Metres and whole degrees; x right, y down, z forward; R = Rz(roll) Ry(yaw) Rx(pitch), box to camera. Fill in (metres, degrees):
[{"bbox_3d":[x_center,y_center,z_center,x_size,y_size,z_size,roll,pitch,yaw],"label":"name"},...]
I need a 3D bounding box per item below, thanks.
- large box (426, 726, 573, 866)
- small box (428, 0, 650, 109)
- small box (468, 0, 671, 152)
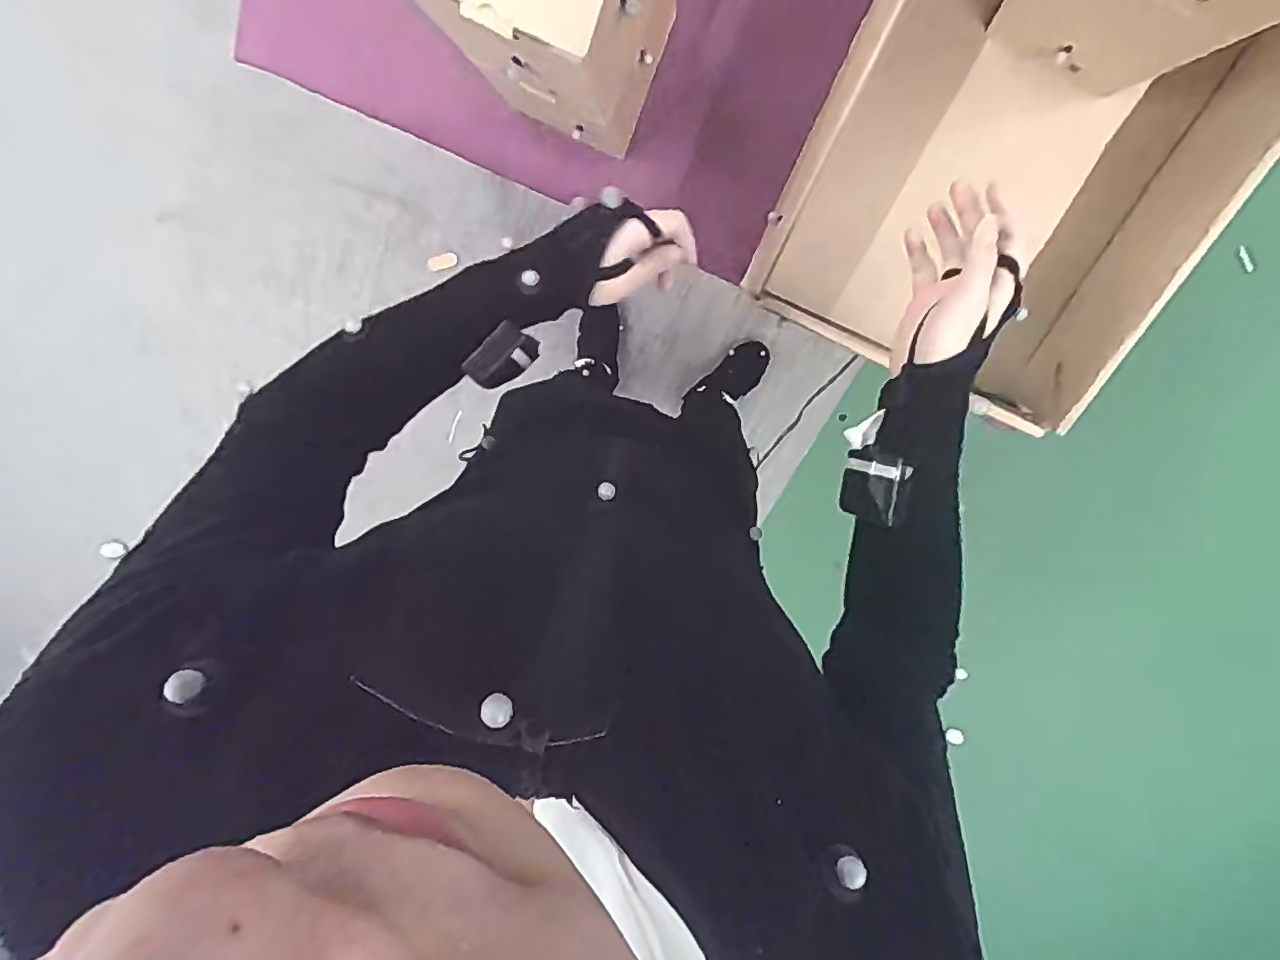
[{"bbox_3d":[-0.488,1.137,1.966,0.408,0.320,0.320,-7,110,6],"label":"large box"},{"bbox_3d":[-0.078,-0.463,0.466,0.168,0.176,0.179,23,110,-5],"label":"small box"},{"bbox_3d":[-0.068,-0.515,0.621,0.168,0.176,0.179,24,108,-5],"label":"small box"}]
